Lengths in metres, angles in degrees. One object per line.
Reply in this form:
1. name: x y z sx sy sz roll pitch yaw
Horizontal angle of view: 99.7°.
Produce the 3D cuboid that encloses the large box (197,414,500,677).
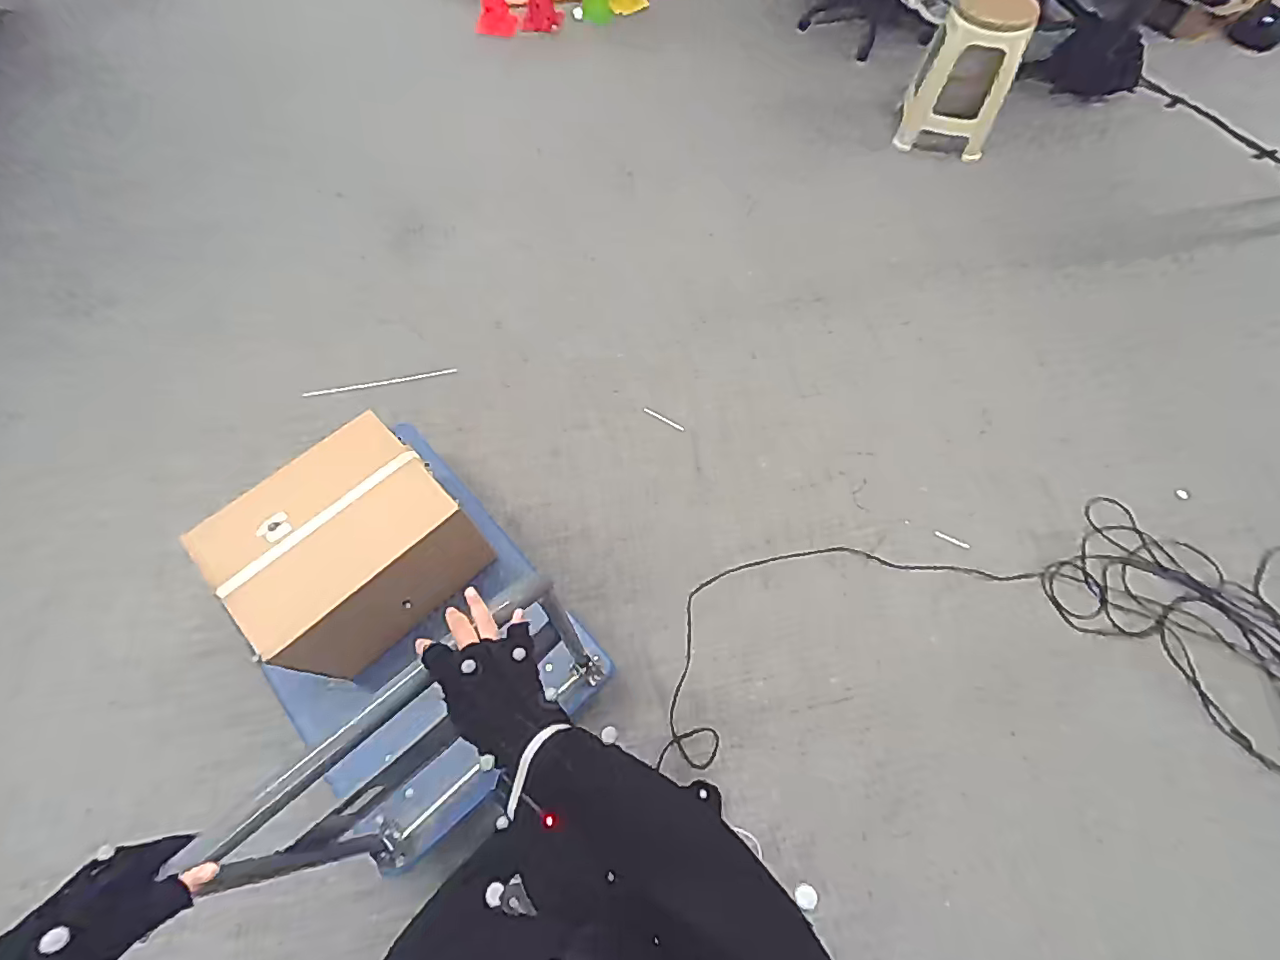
1. large box: -0.574 0.147 1.145 0.408 0.320 0.320 -42 71 -18
